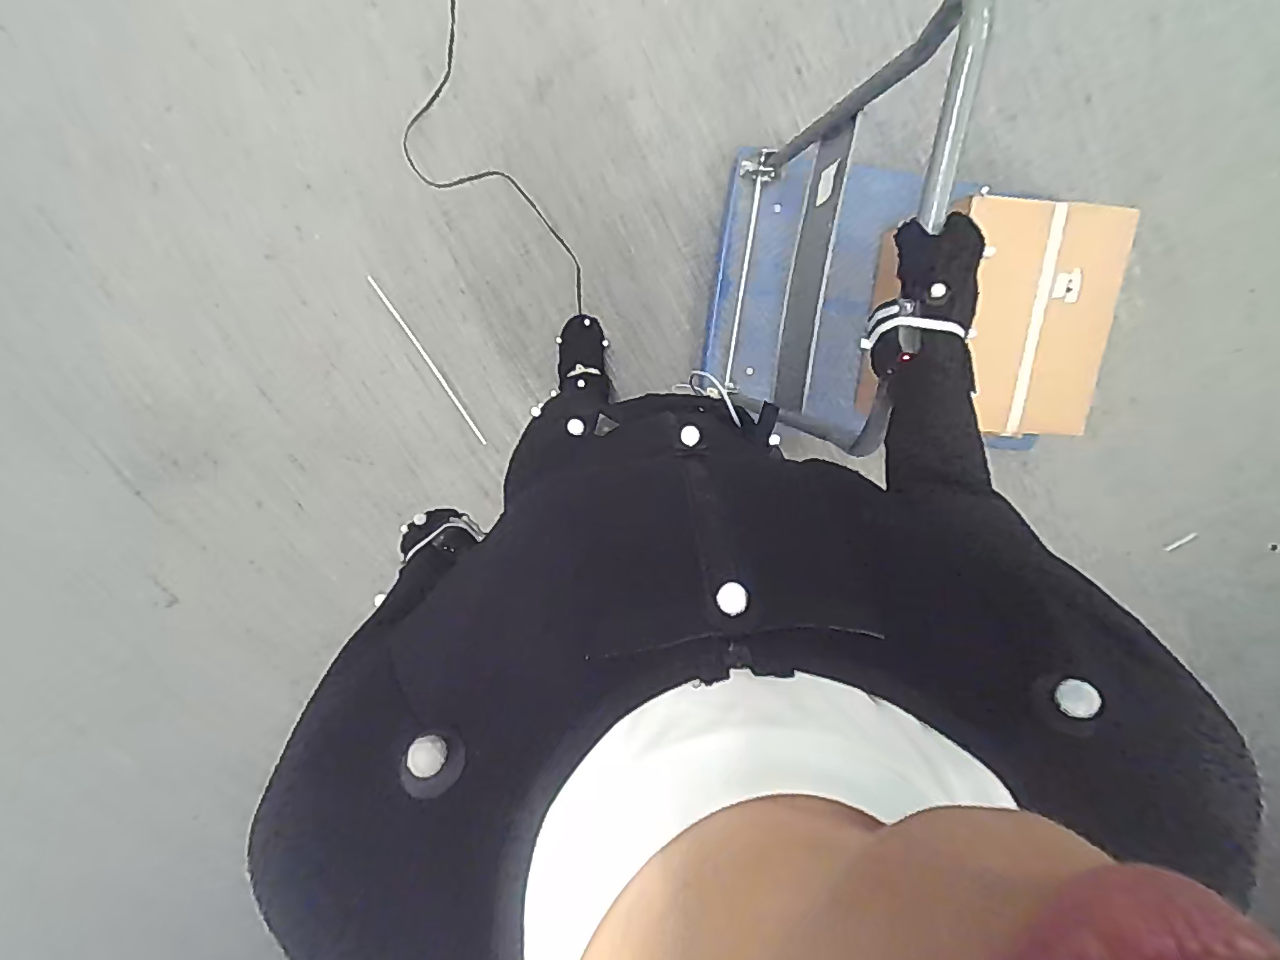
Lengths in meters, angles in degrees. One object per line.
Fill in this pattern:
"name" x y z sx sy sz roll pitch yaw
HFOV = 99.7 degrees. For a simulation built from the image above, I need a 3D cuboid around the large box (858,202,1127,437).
"large box" 0.687 -0.309 1.123 0.320 0.320 0.408 2 102 -6
